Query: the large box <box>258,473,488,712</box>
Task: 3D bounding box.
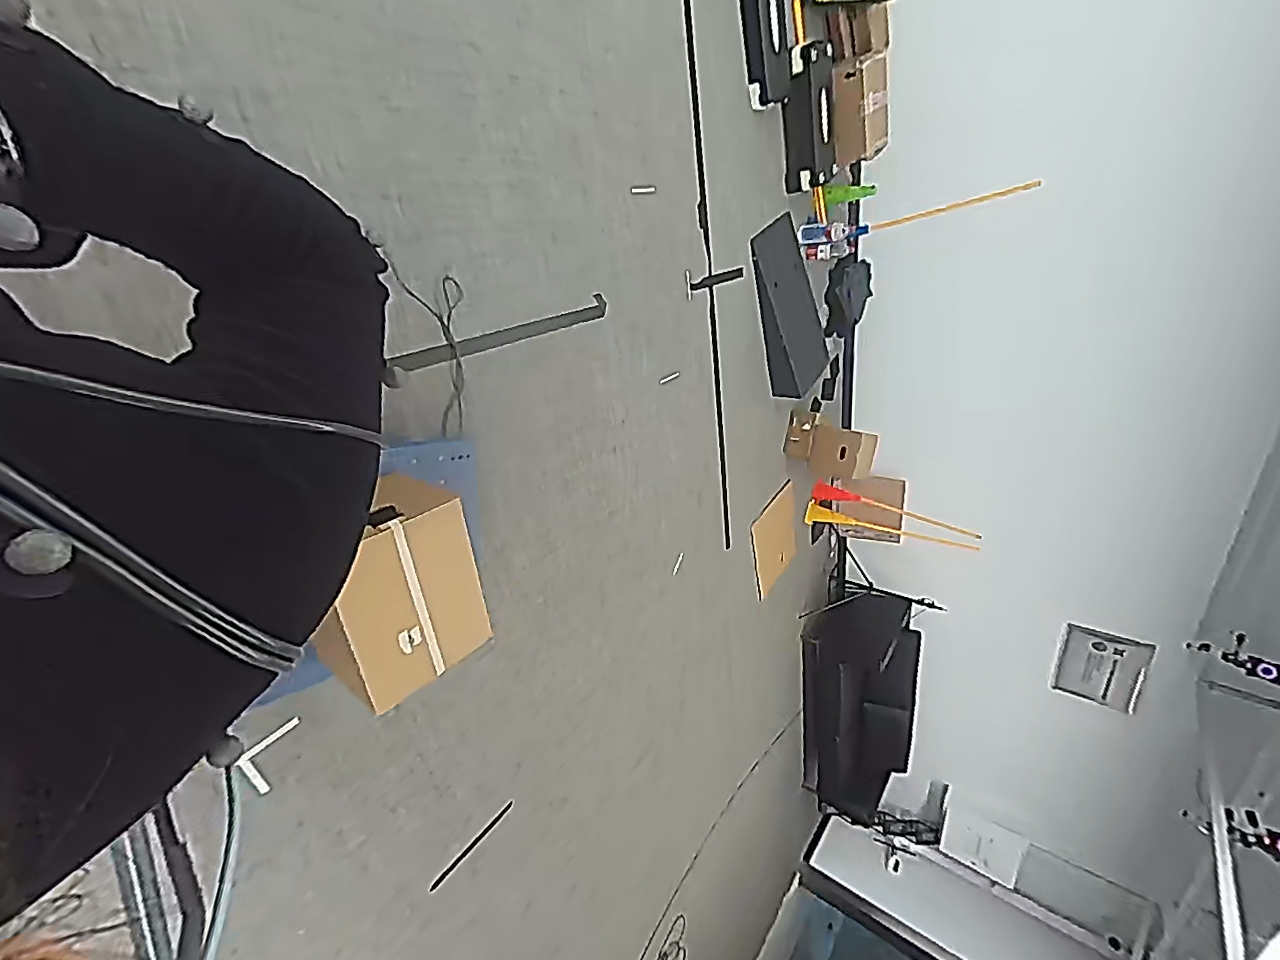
[{"bbox_3d":[-0.614,0.242,1.278,0.320,0.320,0.408,-29,124,-44],"label":"large box"}]
